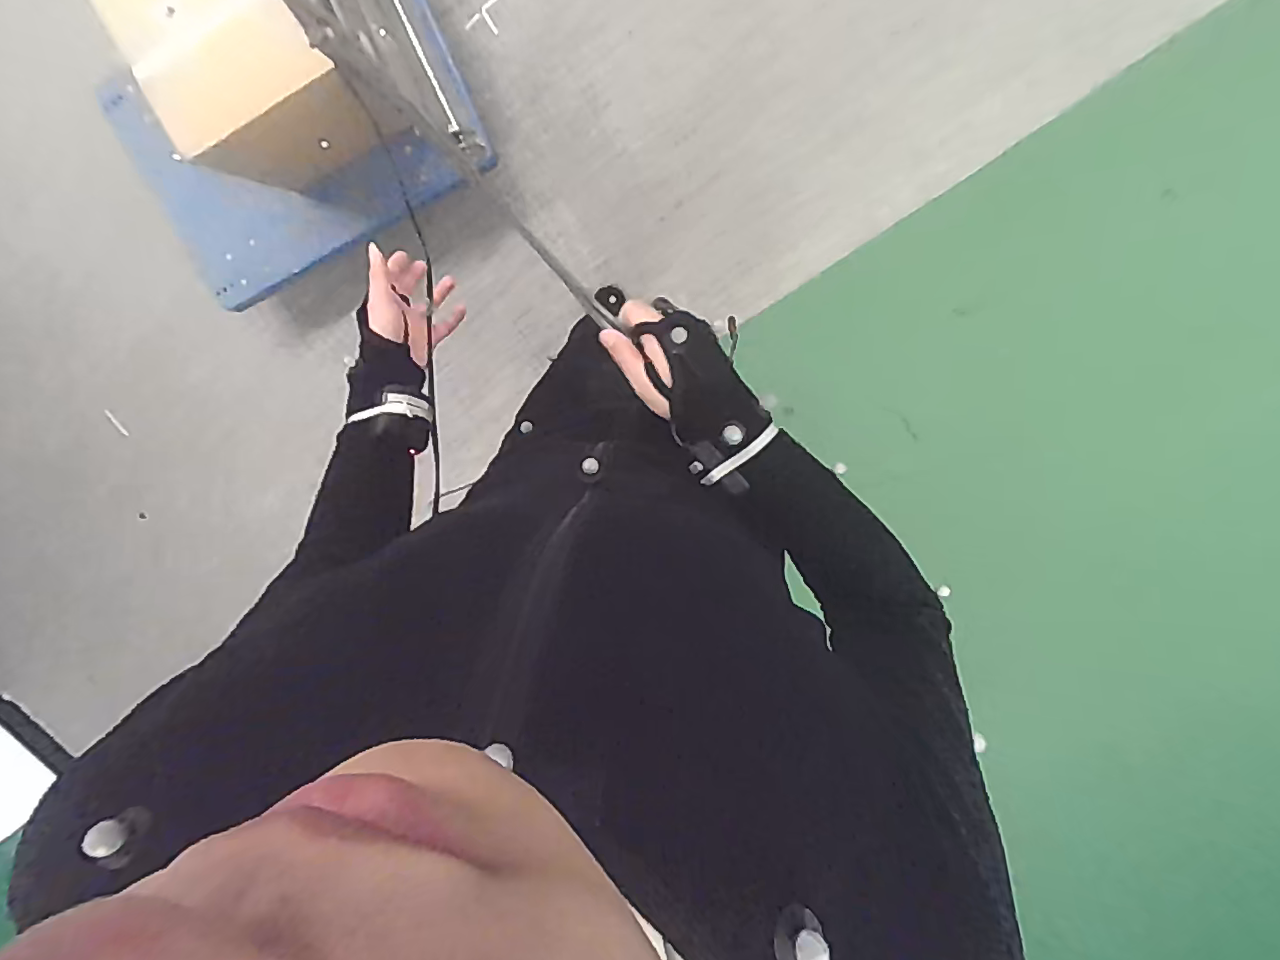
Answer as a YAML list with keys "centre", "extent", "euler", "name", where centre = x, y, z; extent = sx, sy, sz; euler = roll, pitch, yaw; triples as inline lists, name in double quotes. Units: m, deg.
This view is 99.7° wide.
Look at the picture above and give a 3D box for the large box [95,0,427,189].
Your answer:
- centre: [-0.738, -0.866, 1.111]
  extent: [0.408, 0.320, 0.320]
  euler: [-20, 104, 13]
  name: "large box"
